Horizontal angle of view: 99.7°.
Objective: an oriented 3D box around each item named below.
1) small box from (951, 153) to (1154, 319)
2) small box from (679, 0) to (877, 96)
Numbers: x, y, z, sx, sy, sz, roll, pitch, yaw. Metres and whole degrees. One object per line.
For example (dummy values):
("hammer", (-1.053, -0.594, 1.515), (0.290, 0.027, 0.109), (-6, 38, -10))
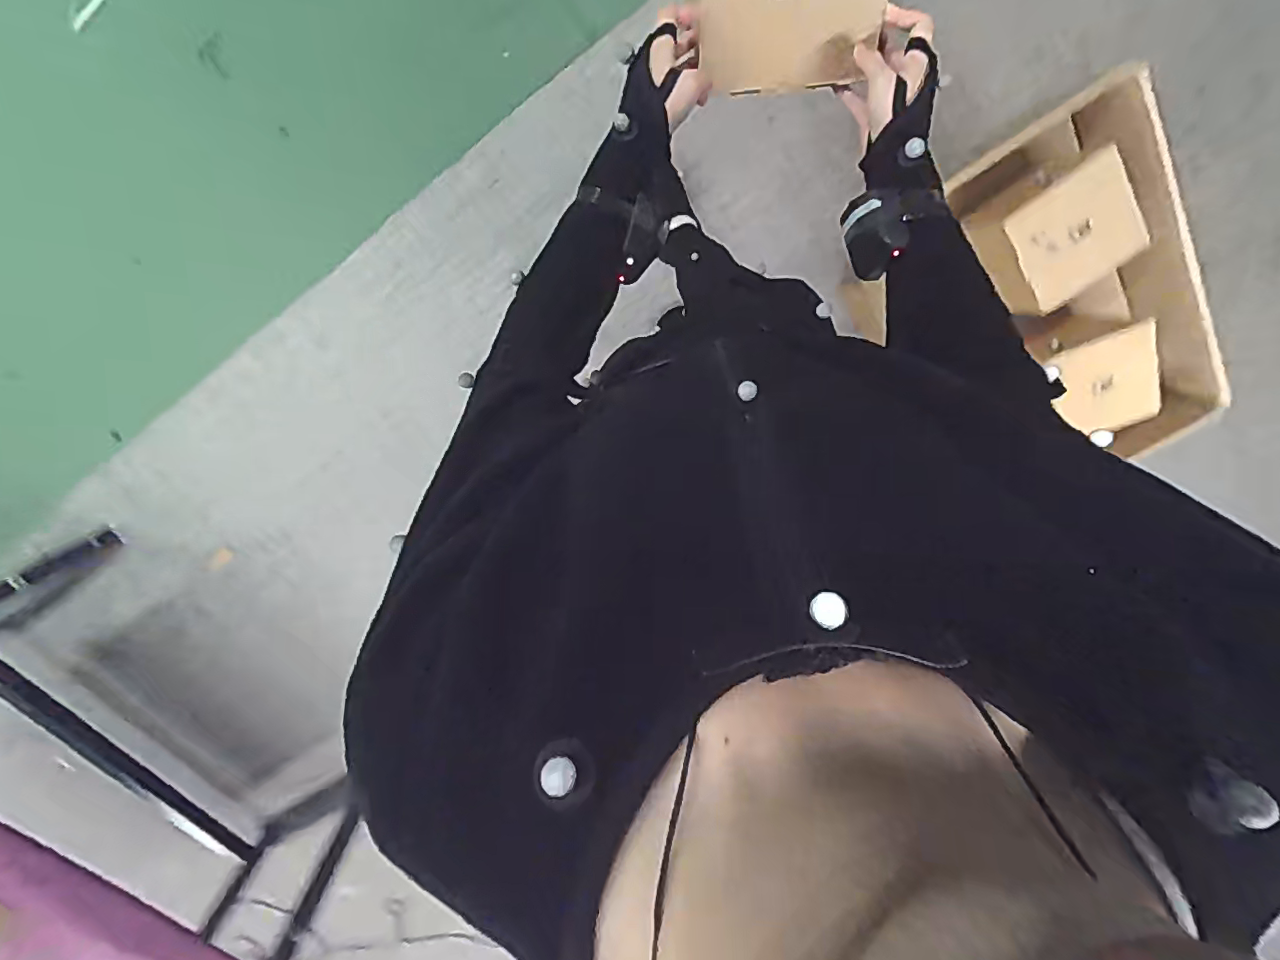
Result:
("small box", (0.659, -0.388, 0.882), (0.179, 0.176, 0.168), (-34, 107, 11))
("small box", (0.123, -0.491, 0.506), (0.168, 0.176, 0.179), (-4, 138, 3))
